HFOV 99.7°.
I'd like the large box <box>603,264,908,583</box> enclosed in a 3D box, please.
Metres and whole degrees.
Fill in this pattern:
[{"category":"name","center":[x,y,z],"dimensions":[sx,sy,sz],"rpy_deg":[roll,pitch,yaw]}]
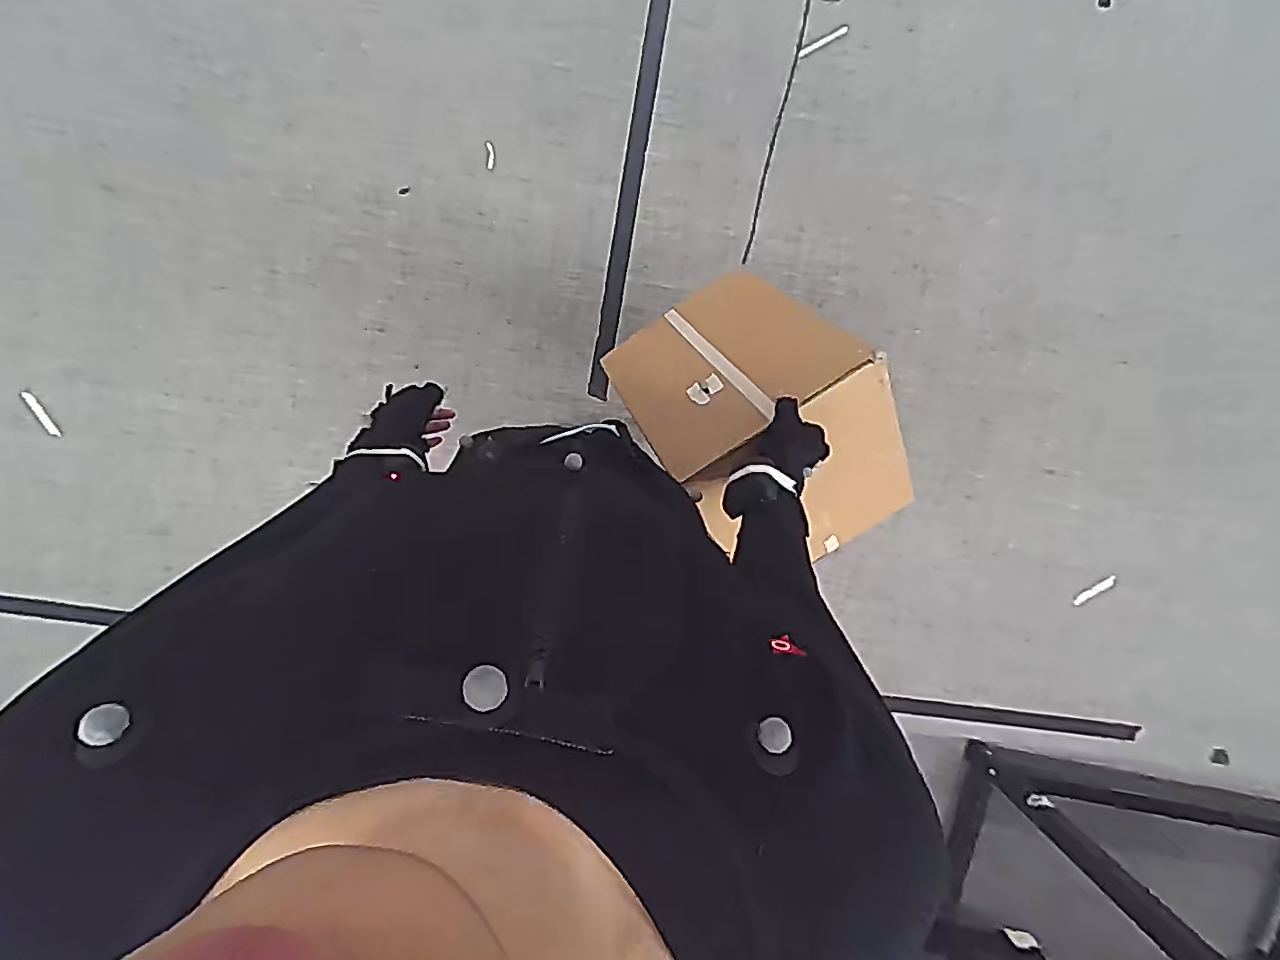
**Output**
[{"category":"large box","center":[0.188,-0.106,0.943],"dimensions":[0.320,0.408,0.320],"rpy_deg":[-34,132,5]}]
